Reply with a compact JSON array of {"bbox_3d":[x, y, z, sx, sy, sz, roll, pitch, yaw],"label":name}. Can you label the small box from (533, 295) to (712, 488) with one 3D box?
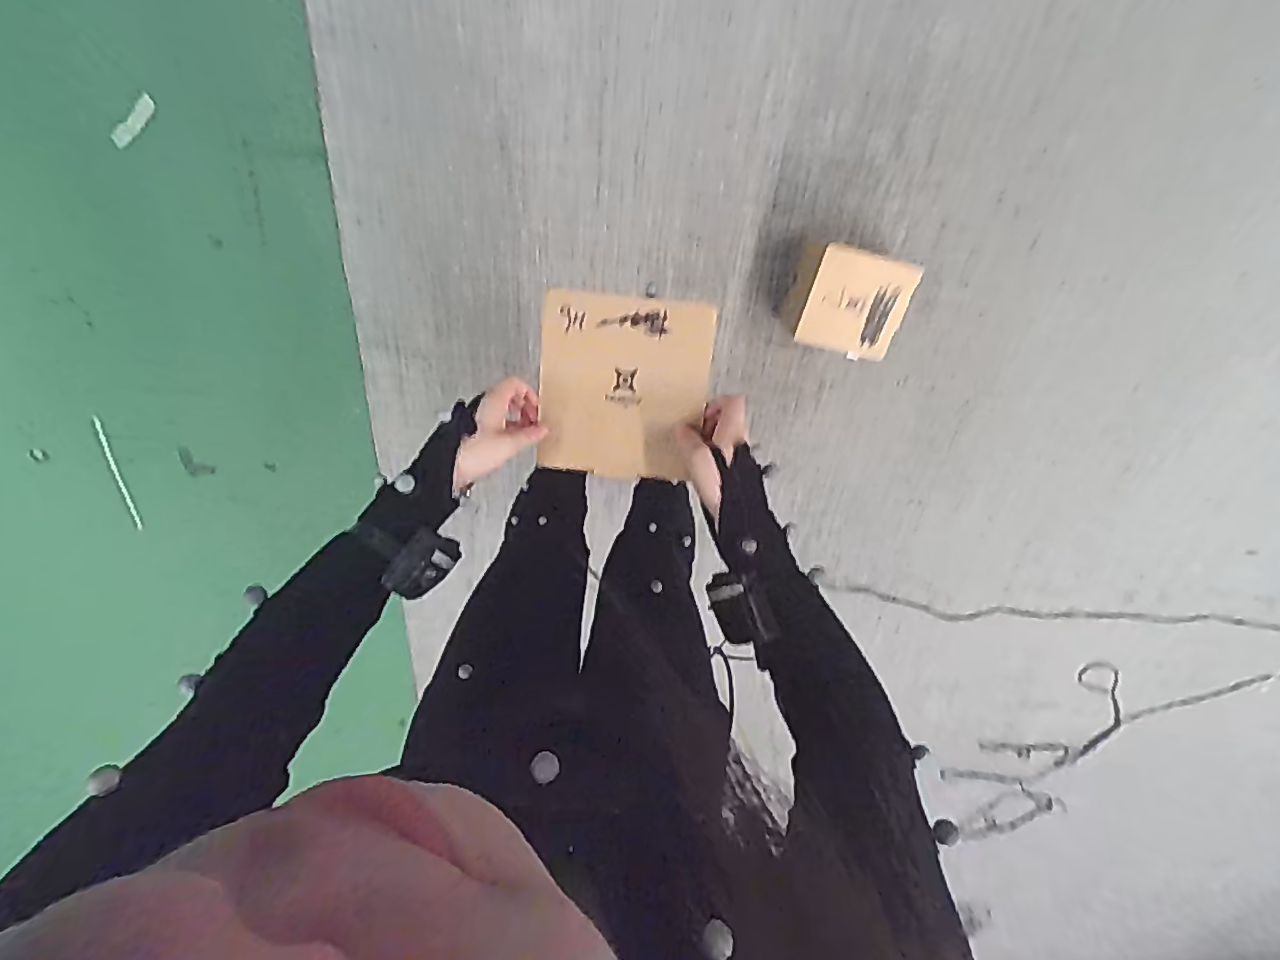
[{"bbox_3d":[-0.018,-0.107,0.610,0.168,0.176,0.179,7,107,0],"label":"small box"}]
